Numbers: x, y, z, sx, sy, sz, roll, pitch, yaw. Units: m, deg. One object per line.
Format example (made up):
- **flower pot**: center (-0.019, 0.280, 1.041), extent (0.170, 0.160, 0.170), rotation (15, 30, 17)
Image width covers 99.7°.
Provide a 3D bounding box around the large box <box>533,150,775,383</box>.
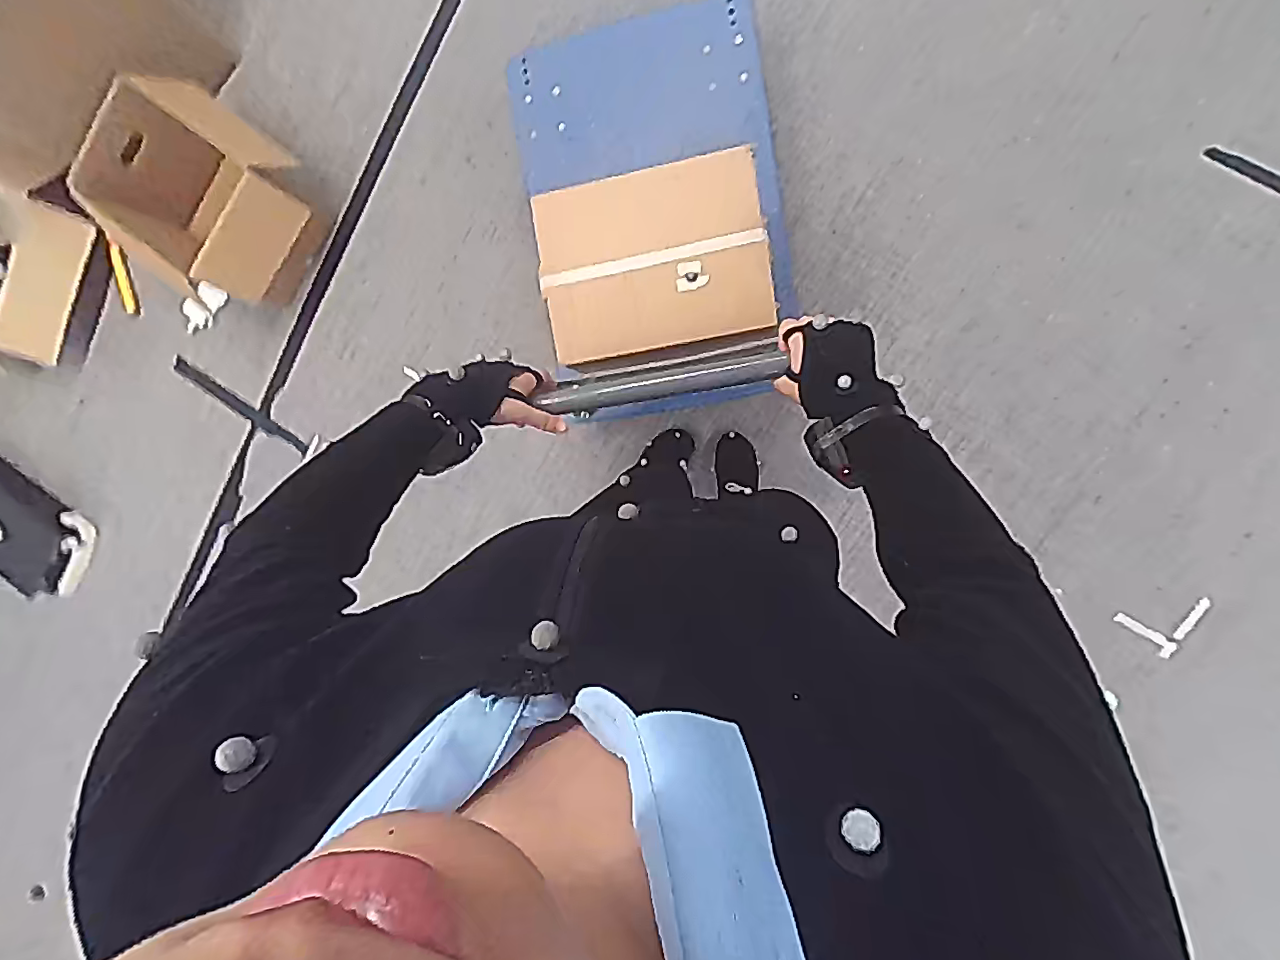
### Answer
- **large box**: center (0.039, -0.403, 1.120), extent (0.408, 0.320, 0.320), rotation (-9, 94, 8)
